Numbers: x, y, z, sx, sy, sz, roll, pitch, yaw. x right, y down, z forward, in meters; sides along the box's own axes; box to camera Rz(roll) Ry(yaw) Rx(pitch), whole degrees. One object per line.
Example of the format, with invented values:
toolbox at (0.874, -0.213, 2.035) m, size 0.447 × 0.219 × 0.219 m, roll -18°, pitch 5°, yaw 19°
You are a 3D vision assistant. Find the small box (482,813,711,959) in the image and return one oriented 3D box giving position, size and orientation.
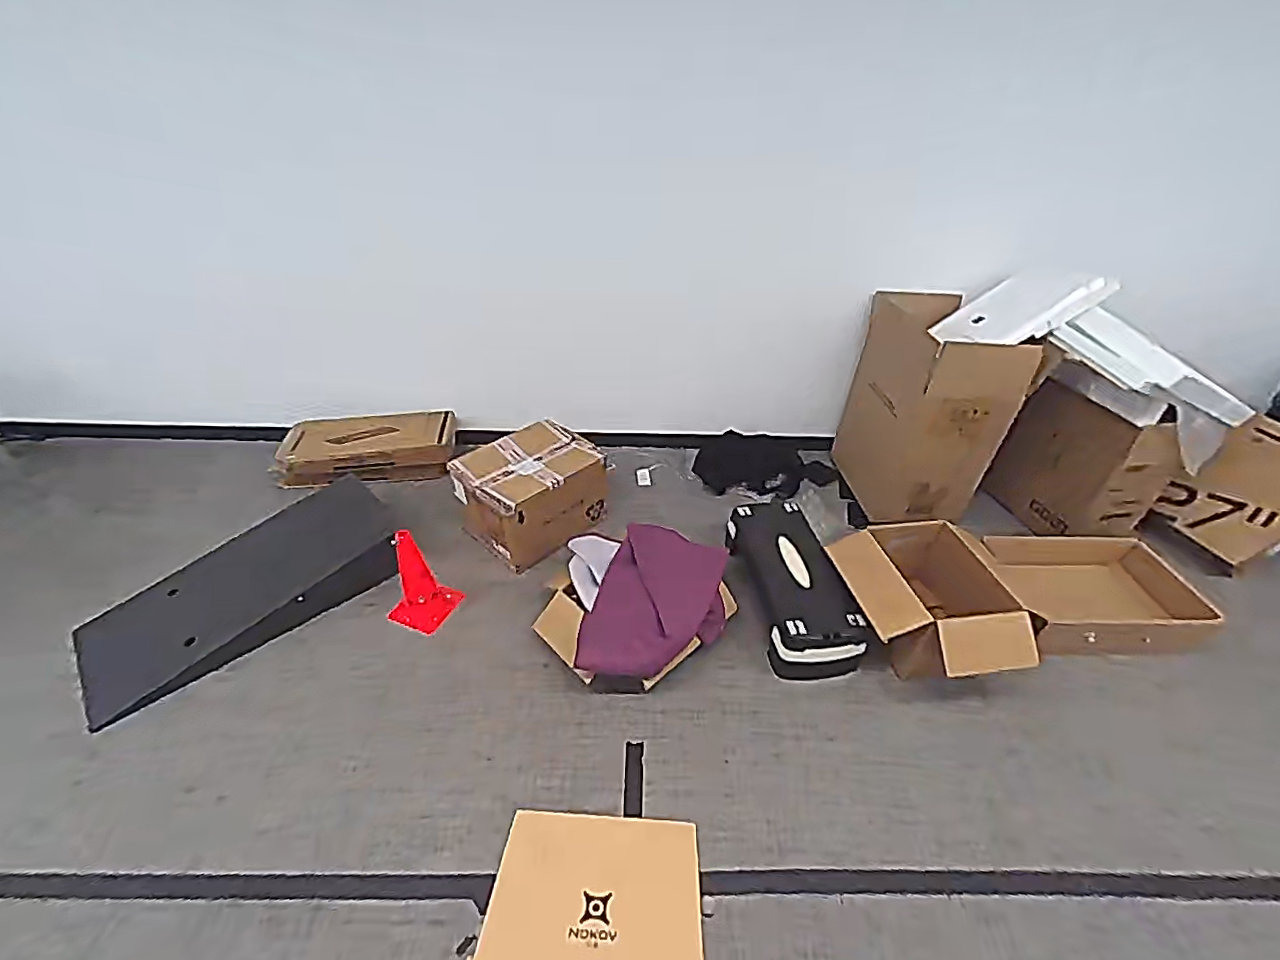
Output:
small box at (-0.033, 0.410, 0.434) m, size 0.168 × 0.176 × 0.179 m, roll 2°, pitch 21°, yaw 1°
